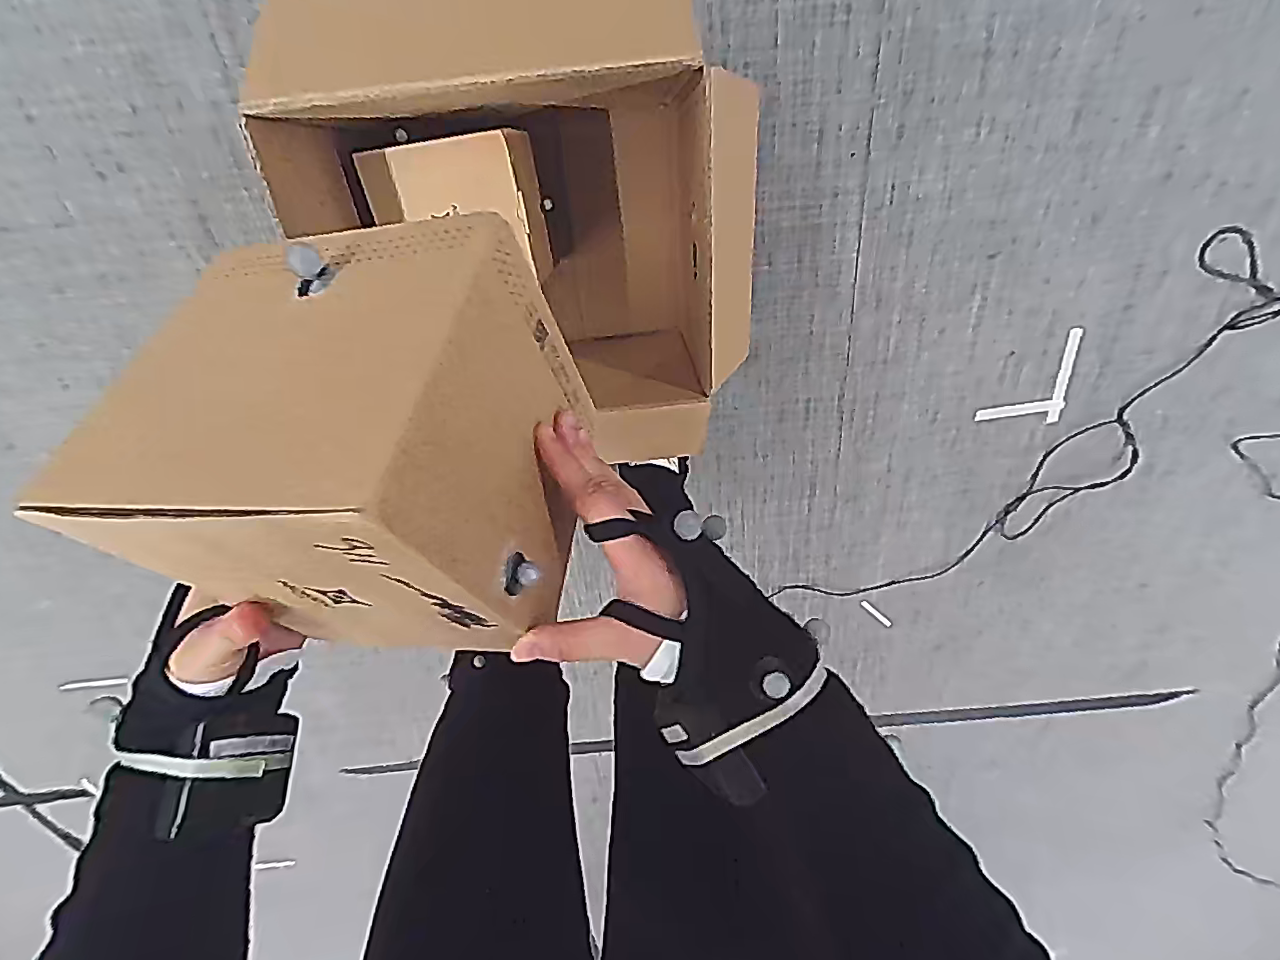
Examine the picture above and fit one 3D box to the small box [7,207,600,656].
[{"bbox_3d":[-0.138,-0.019,0.295,0.179,0.176,0.168,0,148,16],"label":"small box"}]
